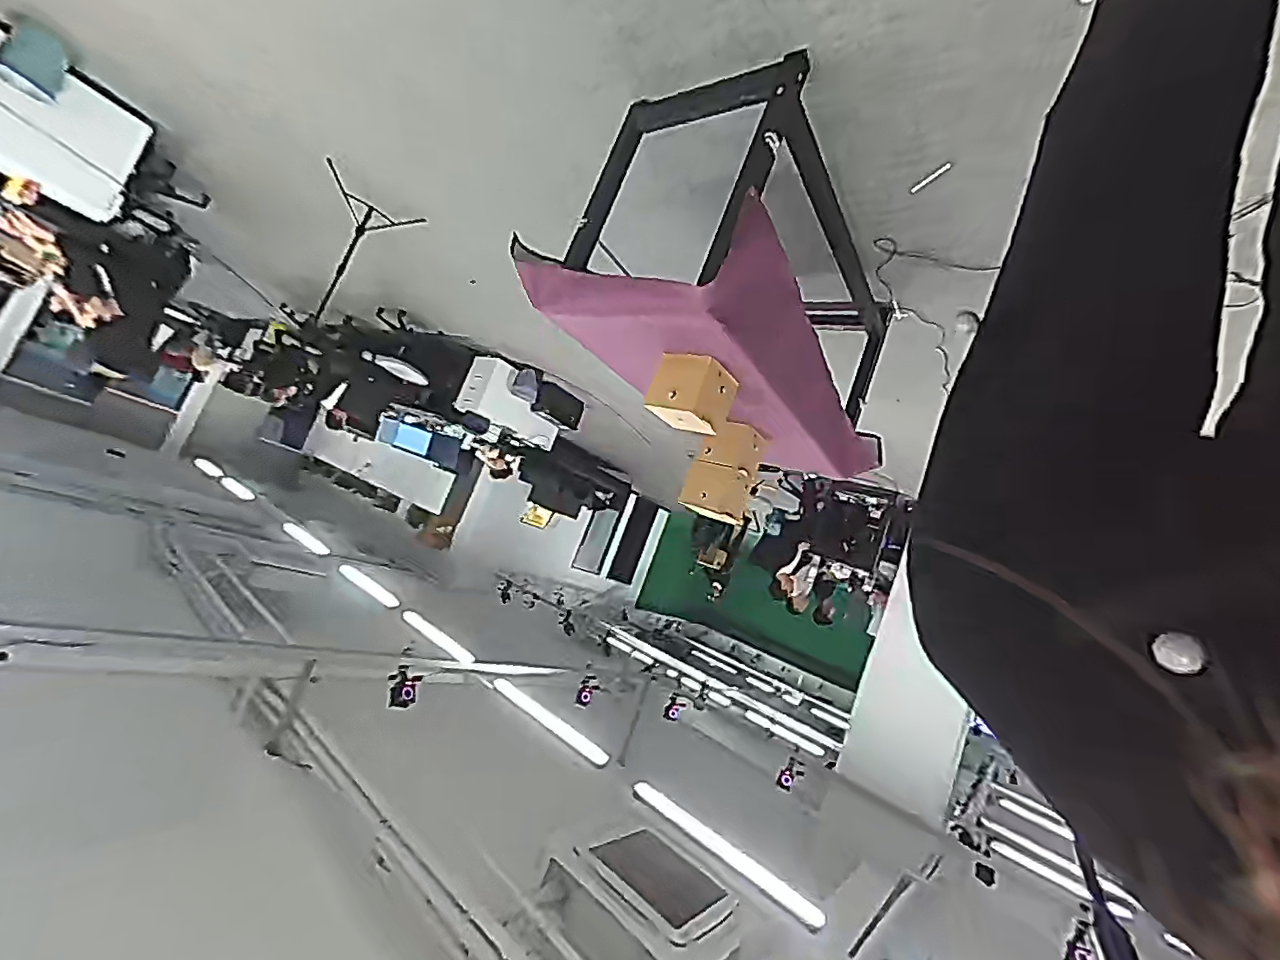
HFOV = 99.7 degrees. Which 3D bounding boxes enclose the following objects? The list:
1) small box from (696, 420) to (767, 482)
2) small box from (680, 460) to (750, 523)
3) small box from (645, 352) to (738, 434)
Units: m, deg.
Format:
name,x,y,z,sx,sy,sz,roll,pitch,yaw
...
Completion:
name,x,y,z,sx,sy,sz,roll,pitch,yaw
small box,0.339,-0.113,1.988,0.179,0.176,0.168,15,171,39
small box,0.281,0.039,1.968,0.179,0.176,0.168,15,170,43
small box,0.149,-0.251,1.536,0.179,0.176,0.168,15,170,40
